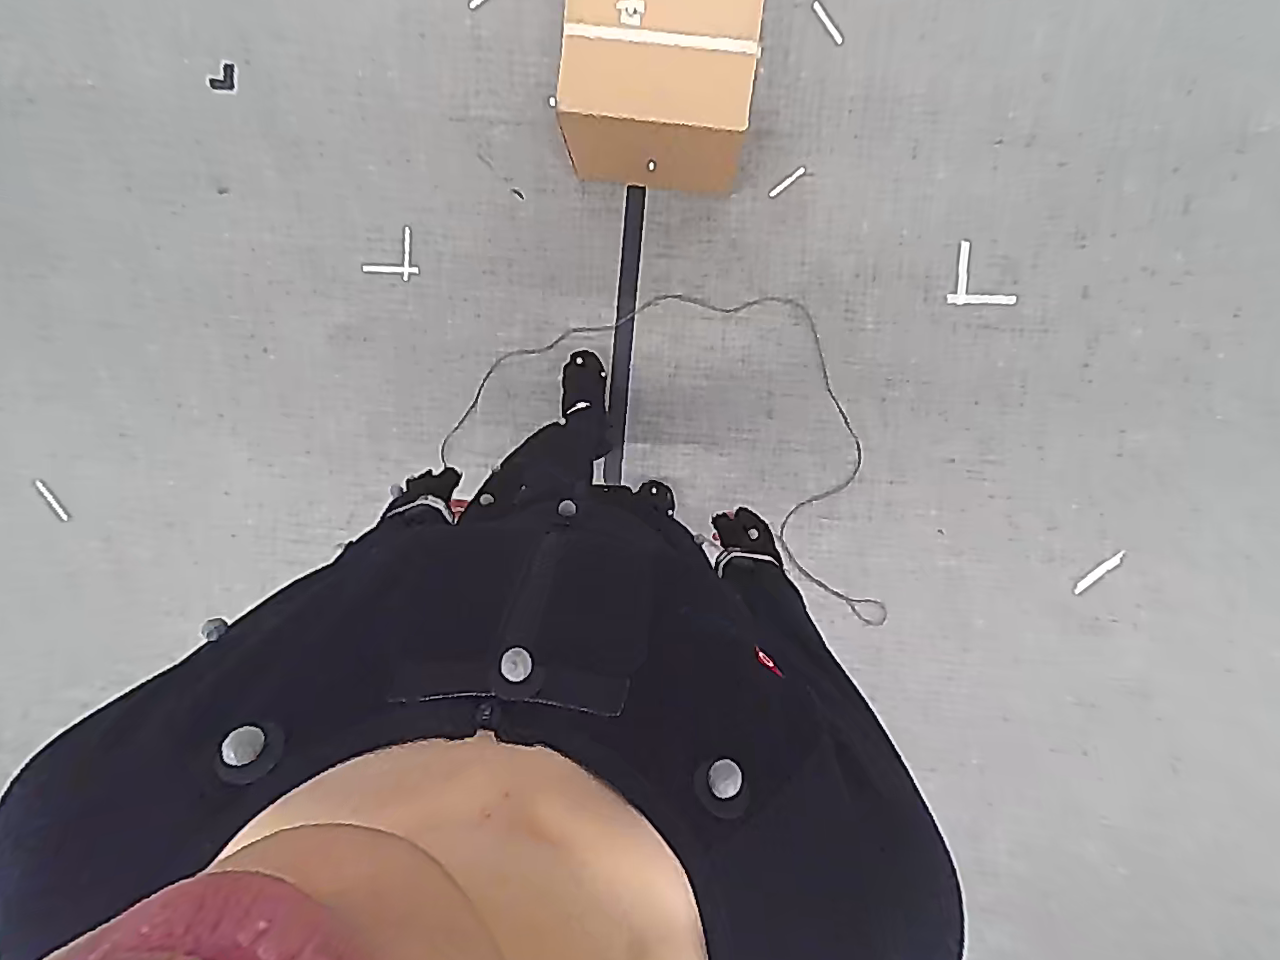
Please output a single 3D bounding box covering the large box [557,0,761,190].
[{"bbox_3d":[0.047,-0.910,1.259,0.408,0.320,0.320,7,94,3],"label":"large box"}]
